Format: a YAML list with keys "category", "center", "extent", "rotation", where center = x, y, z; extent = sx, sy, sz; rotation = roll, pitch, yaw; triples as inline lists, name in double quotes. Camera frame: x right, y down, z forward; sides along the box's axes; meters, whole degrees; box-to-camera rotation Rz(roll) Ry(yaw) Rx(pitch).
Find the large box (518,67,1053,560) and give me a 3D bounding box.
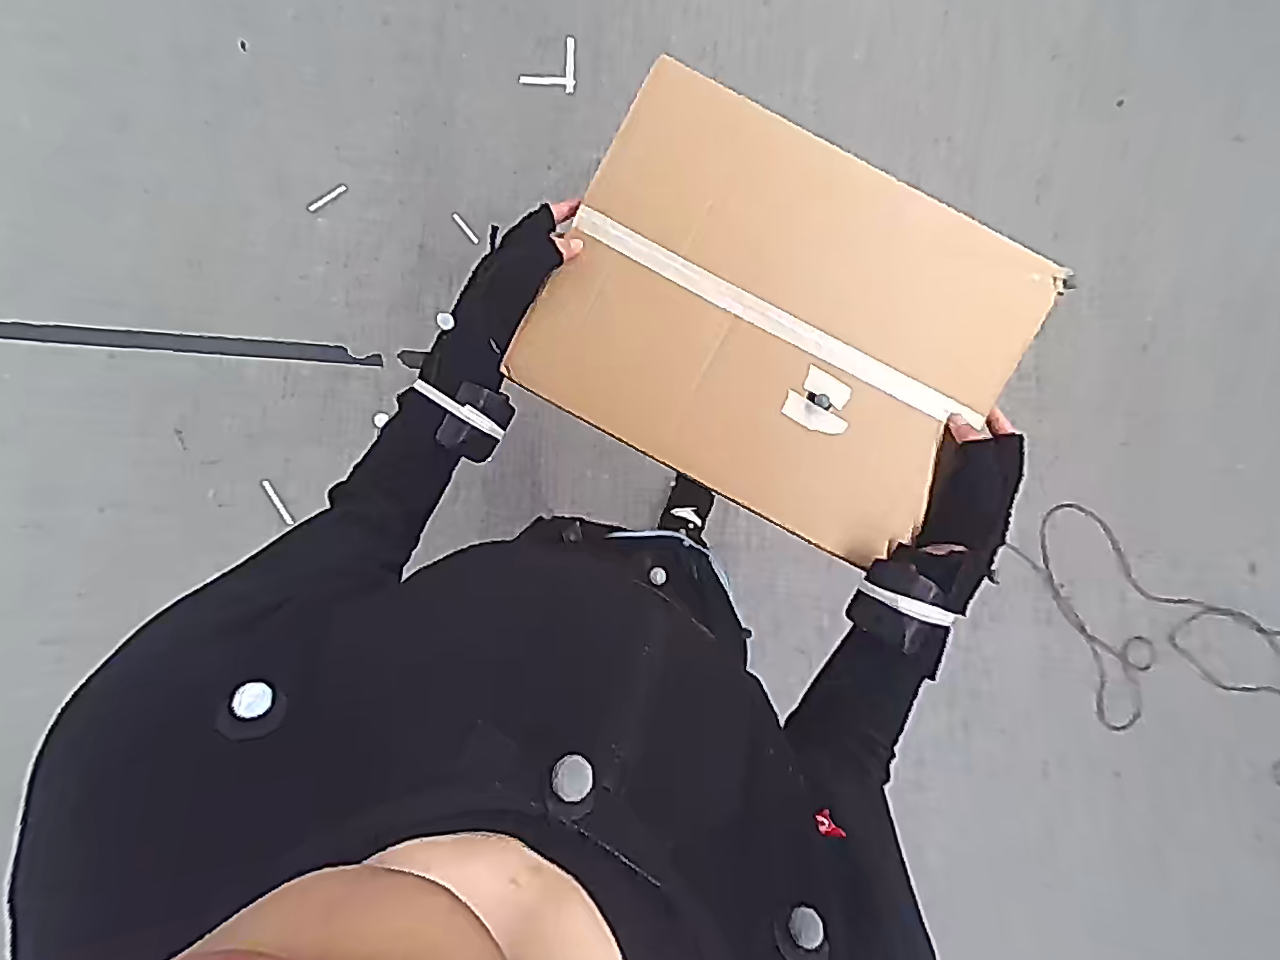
- category: "large box"
  center: [0.130, -0.156, 0.641]
  extent: [0.408, 0.320, 0.320]
  rotation: [29, 94, 0]
